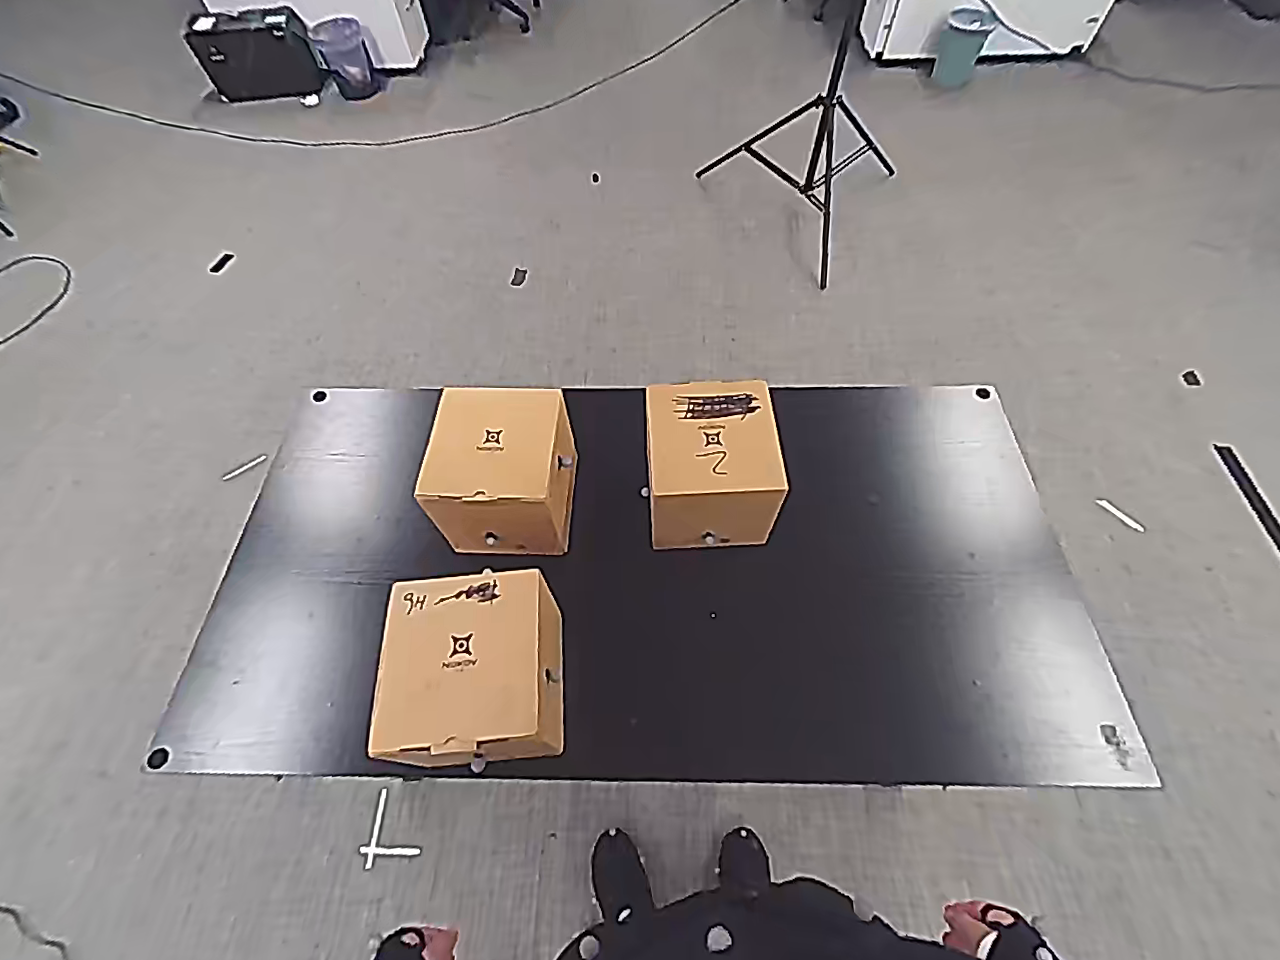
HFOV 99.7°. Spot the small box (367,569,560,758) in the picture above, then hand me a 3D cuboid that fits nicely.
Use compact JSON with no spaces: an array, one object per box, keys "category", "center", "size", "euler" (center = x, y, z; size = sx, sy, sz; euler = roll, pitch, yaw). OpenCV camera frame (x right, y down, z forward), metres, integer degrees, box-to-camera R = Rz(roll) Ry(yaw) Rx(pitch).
[{"category":"small box","center":[-0.188,0.222,0.632],"size":[0.168,0.176,0.179],"euler":[-5,59,-1]}]

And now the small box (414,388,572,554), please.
[{"category":"small box","center":[-0.193,-0.010,0.773],"size":[0.168,0.176,0.179],"euler":[1,59,2]}]
